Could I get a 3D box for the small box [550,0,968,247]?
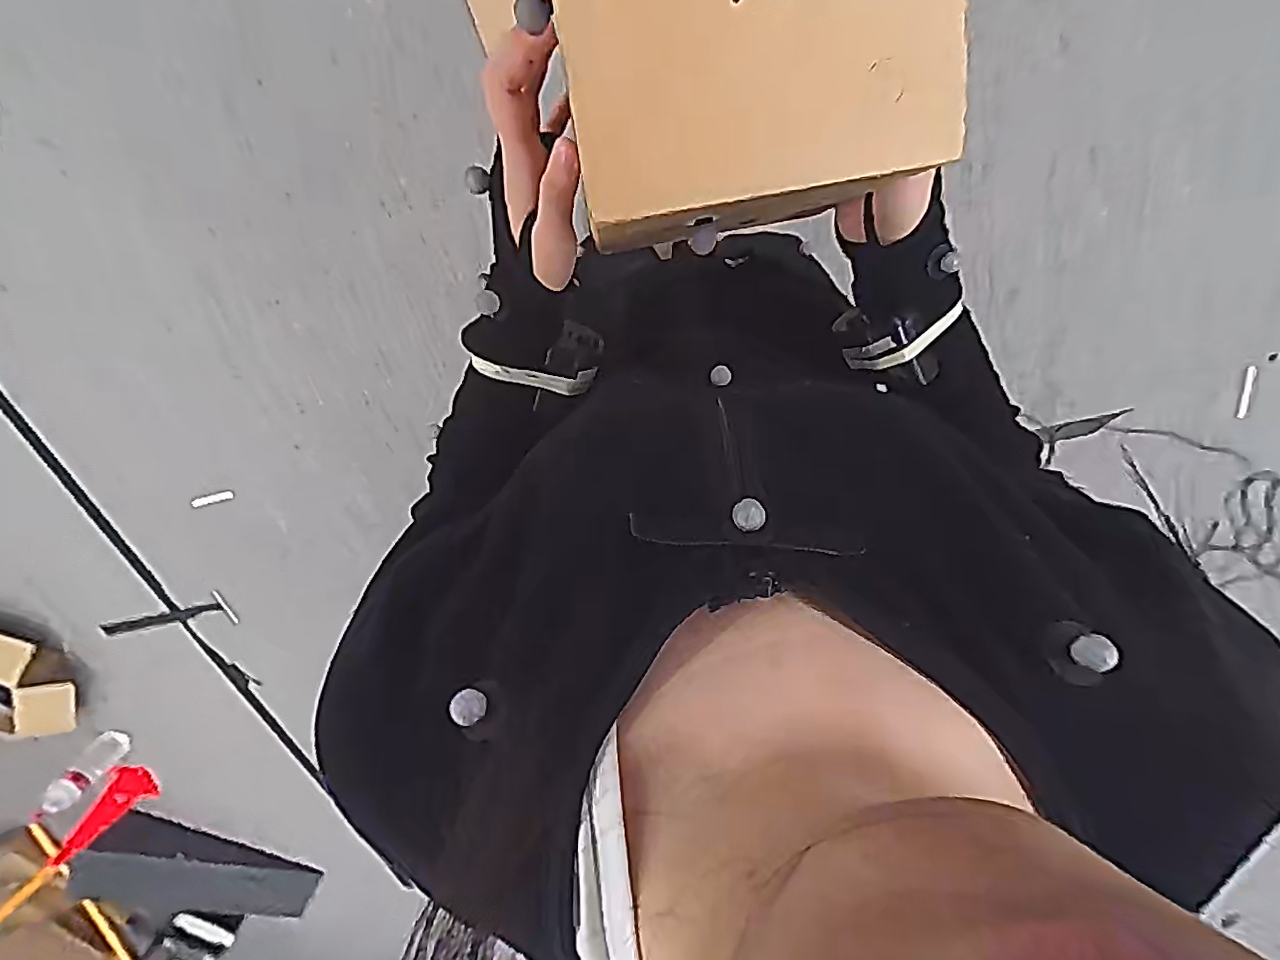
[{"bbox_3d":[0.043,-0.228,0.283,0.168,0.176,0.179,-10,108,0],"label":"small box"}]
